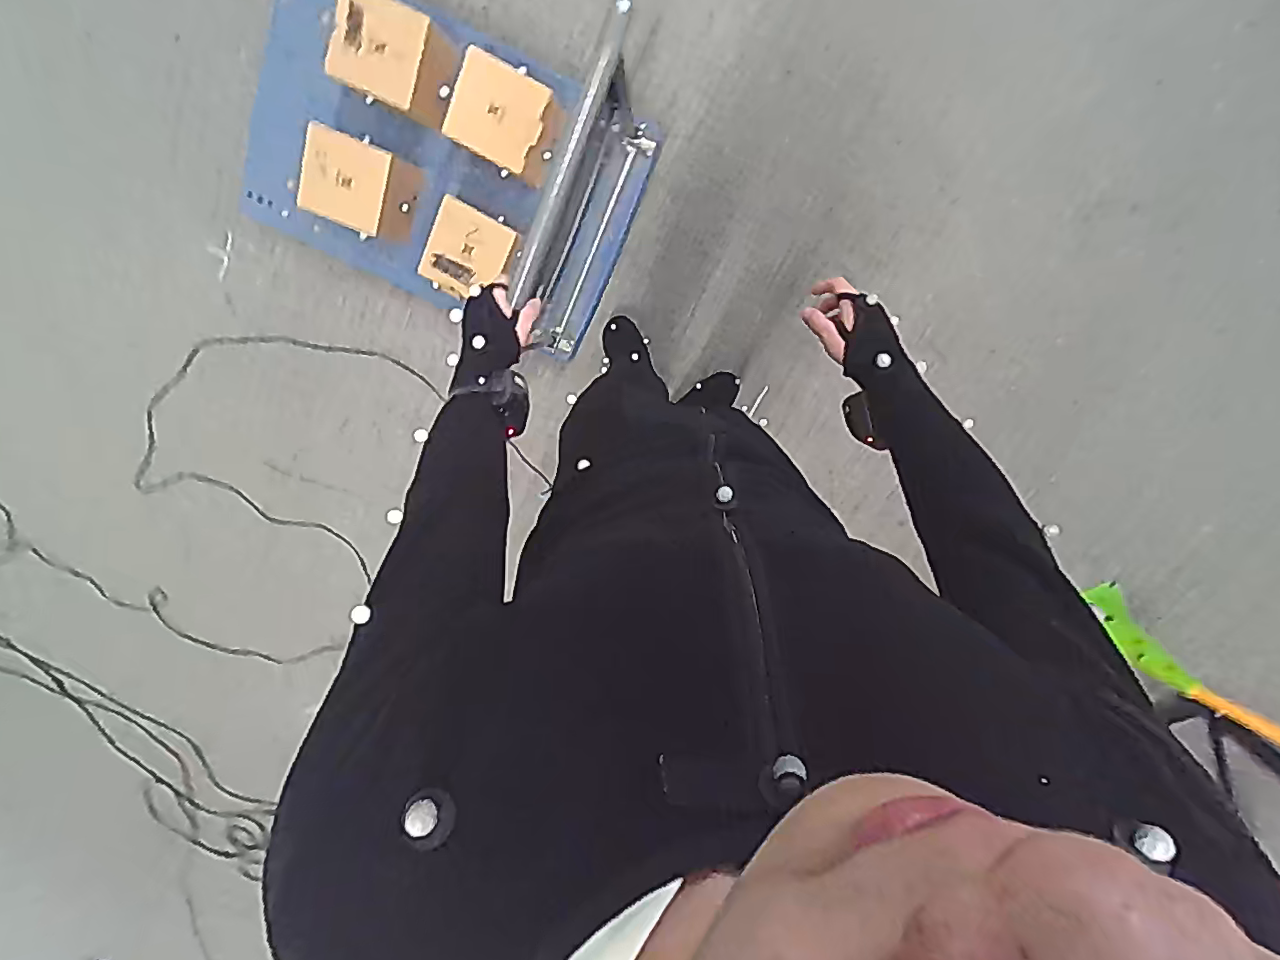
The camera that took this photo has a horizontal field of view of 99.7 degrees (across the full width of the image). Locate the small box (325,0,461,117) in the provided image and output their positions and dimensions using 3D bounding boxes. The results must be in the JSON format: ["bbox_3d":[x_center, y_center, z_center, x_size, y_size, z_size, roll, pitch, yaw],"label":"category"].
[{"bbox_3d":[-0.495,-0.880,1.101,0.179,0.176,0.168,23,109,-7],"label":"small box"}]

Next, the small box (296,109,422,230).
[{"bbox_3d":[-0.605,-0.664,1.182,0.179,0.176,0.168,22,108,-6],"label":"small box"}]

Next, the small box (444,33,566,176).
[{"bbox_3d":[-0.274,-0.770,1.134,0.179,0.176,0.168,27,108,-7],"label":"small box"}]
